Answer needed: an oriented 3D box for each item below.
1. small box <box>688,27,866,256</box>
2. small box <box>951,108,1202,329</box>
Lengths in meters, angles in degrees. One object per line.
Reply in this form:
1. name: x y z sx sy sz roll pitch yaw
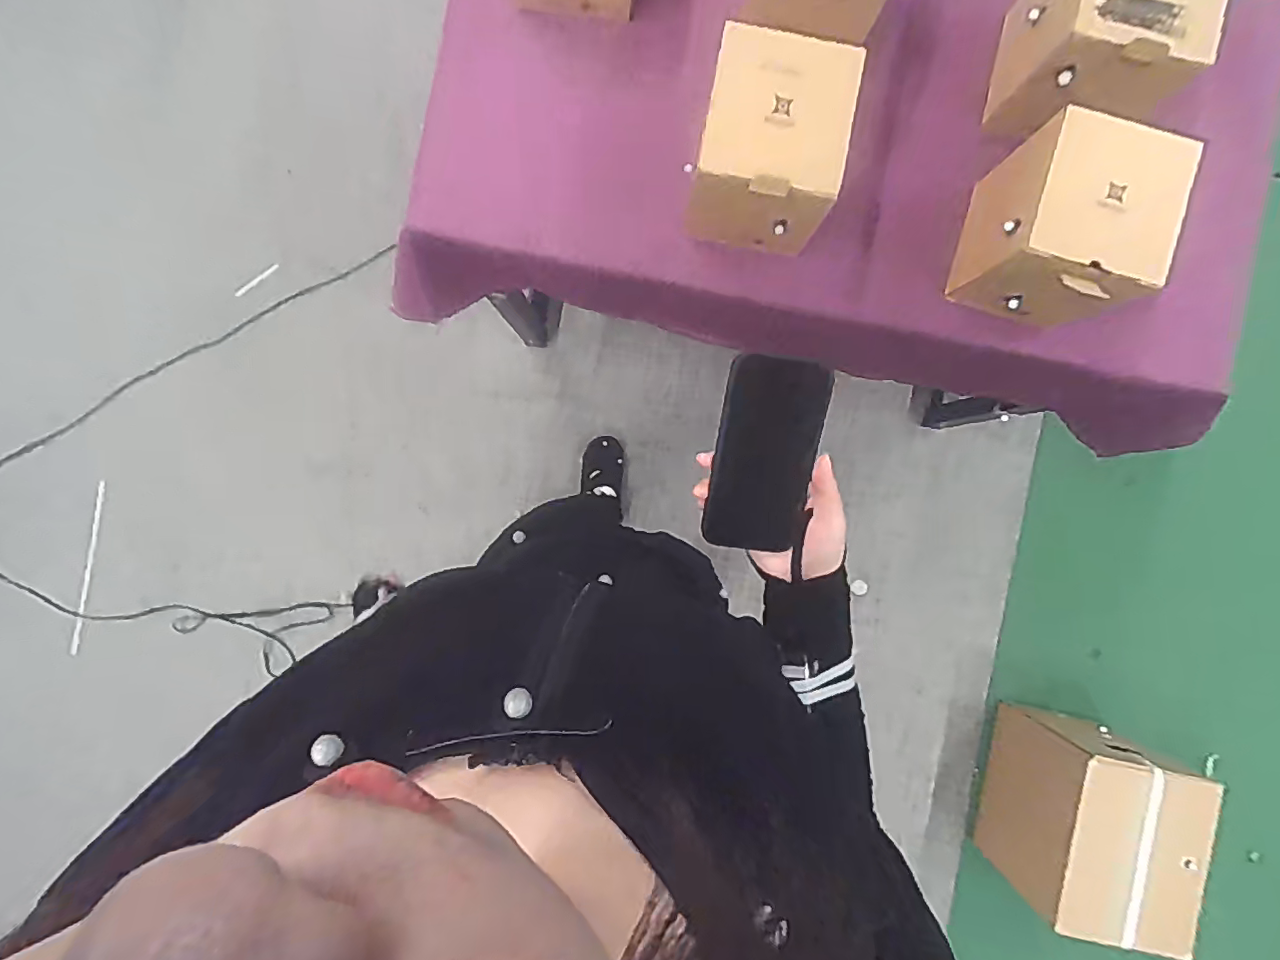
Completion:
1. small box: 0.160 -0.413 0.691 0.168 0.176 0.179 11 89 -1
2. small box: 0.538 -0.317 0.693 0.168 0.176 0.179 16 90 0
